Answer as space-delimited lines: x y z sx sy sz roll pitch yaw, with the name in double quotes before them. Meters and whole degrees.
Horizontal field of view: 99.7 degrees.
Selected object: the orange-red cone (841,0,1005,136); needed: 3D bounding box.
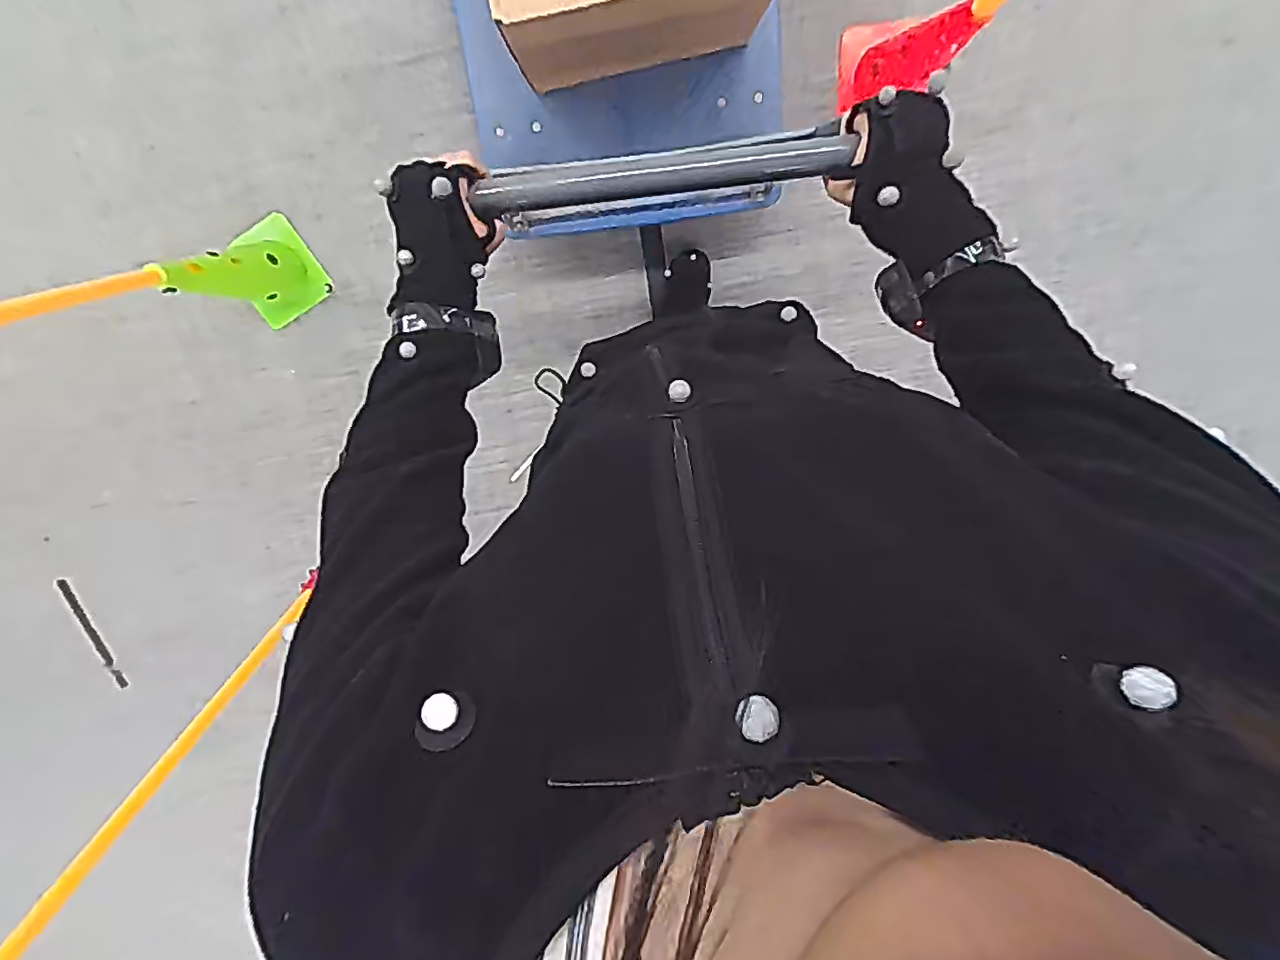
"orange-red cone" 0.534 -0.780 0.981 0.199 0.360 0.198 -4 112 0
